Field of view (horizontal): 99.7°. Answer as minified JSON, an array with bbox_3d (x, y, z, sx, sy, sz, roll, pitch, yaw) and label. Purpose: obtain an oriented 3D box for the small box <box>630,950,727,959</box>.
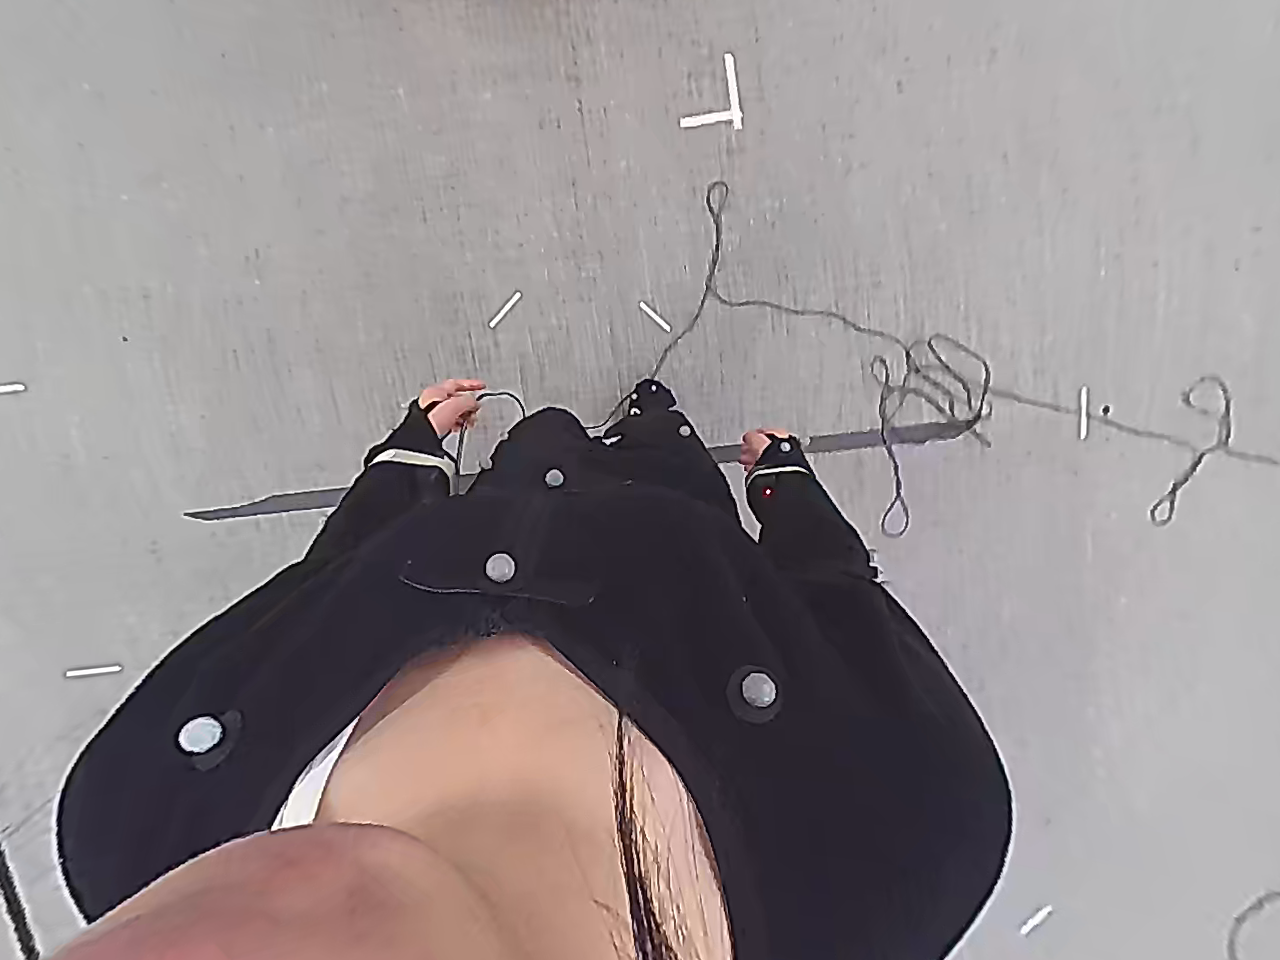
[{"bbox_3d":[0.069,0.857,0.813,0.168,0.176,0.179,-6,100,-1],"label":"small box"}]
